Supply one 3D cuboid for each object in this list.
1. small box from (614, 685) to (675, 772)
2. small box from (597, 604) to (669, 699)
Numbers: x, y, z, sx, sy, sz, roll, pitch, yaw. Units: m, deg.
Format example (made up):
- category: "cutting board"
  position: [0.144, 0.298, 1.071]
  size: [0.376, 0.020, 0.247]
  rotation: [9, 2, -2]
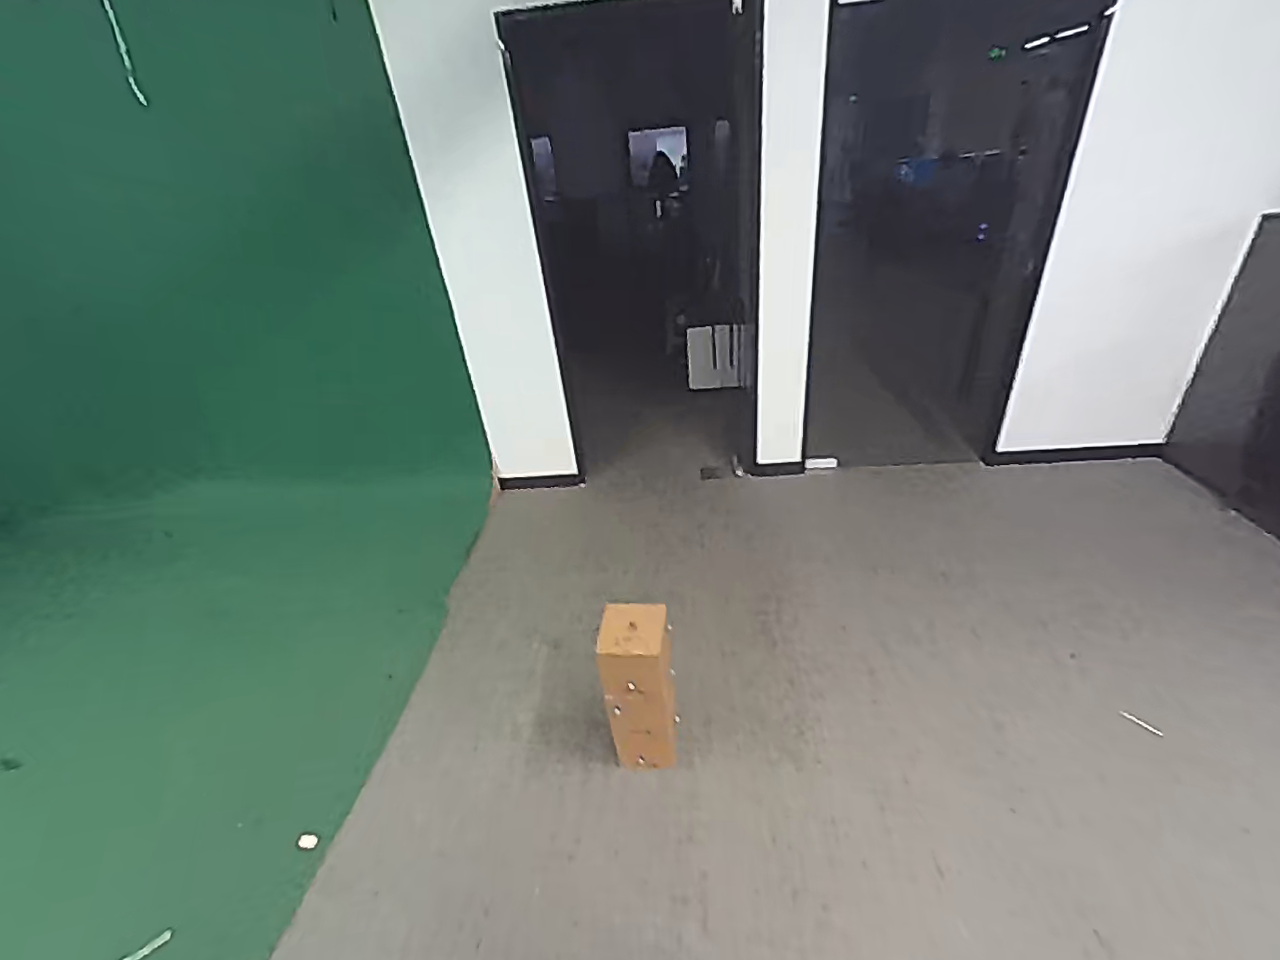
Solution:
- category: "small box"
  position: [0.018, 0.741, 1.623]
  size: [0.168, 0.176, 0.179]
  rotation: [-2, 31, 6]
- category: "small box"
  position: [-0.012, 0.459, 1.457]
  size: [0.168, 0.176, 0.179]
  rotation: [-1, 31, 10]
